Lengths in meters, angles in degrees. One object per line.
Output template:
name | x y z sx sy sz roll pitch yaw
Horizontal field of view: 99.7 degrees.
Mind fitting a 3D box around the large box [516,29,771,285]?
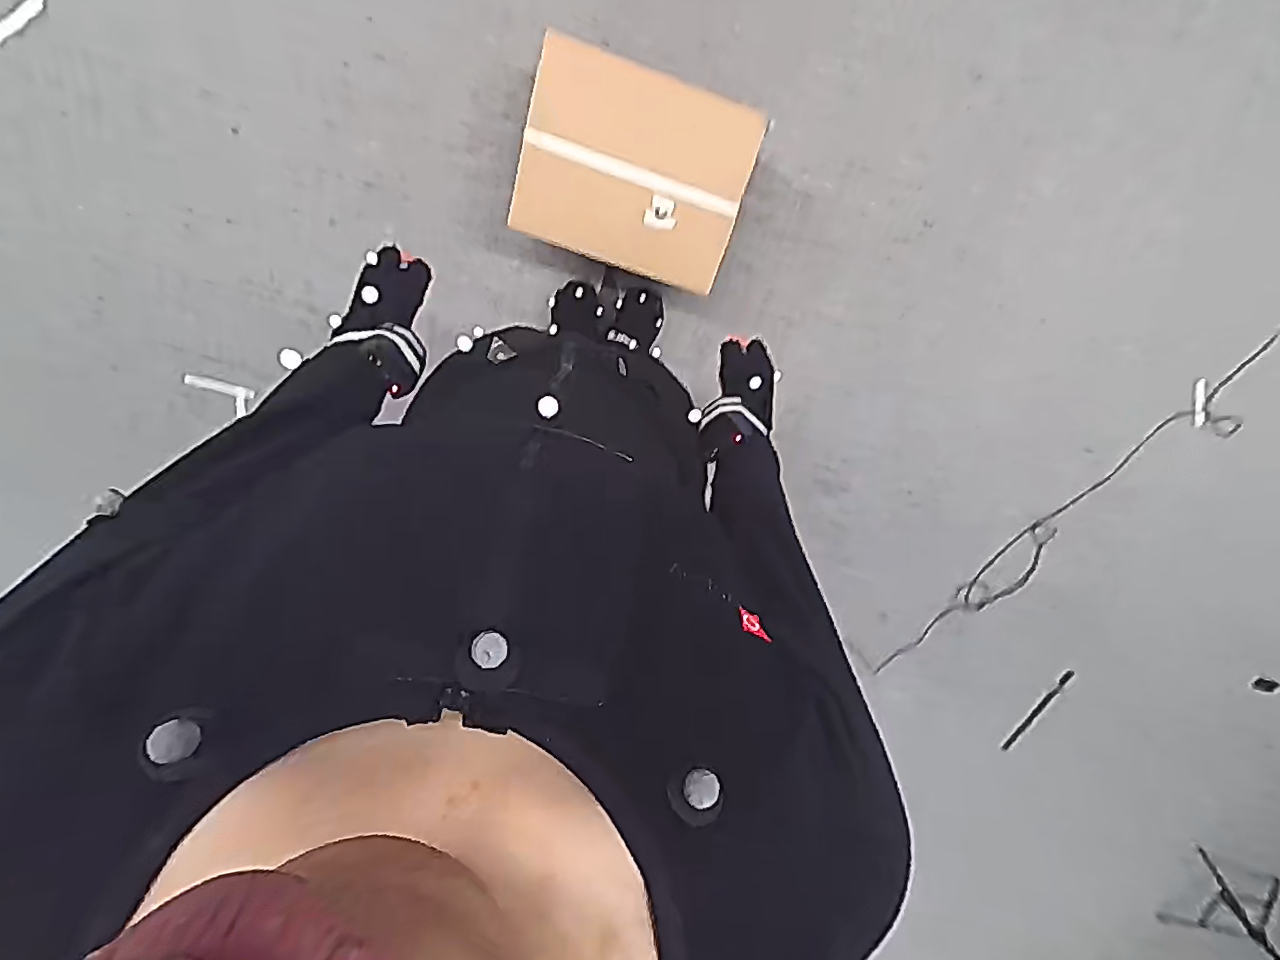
large box | -0.007 -0.624 1.109 0.408 0.320 0.320 15 114 -8
